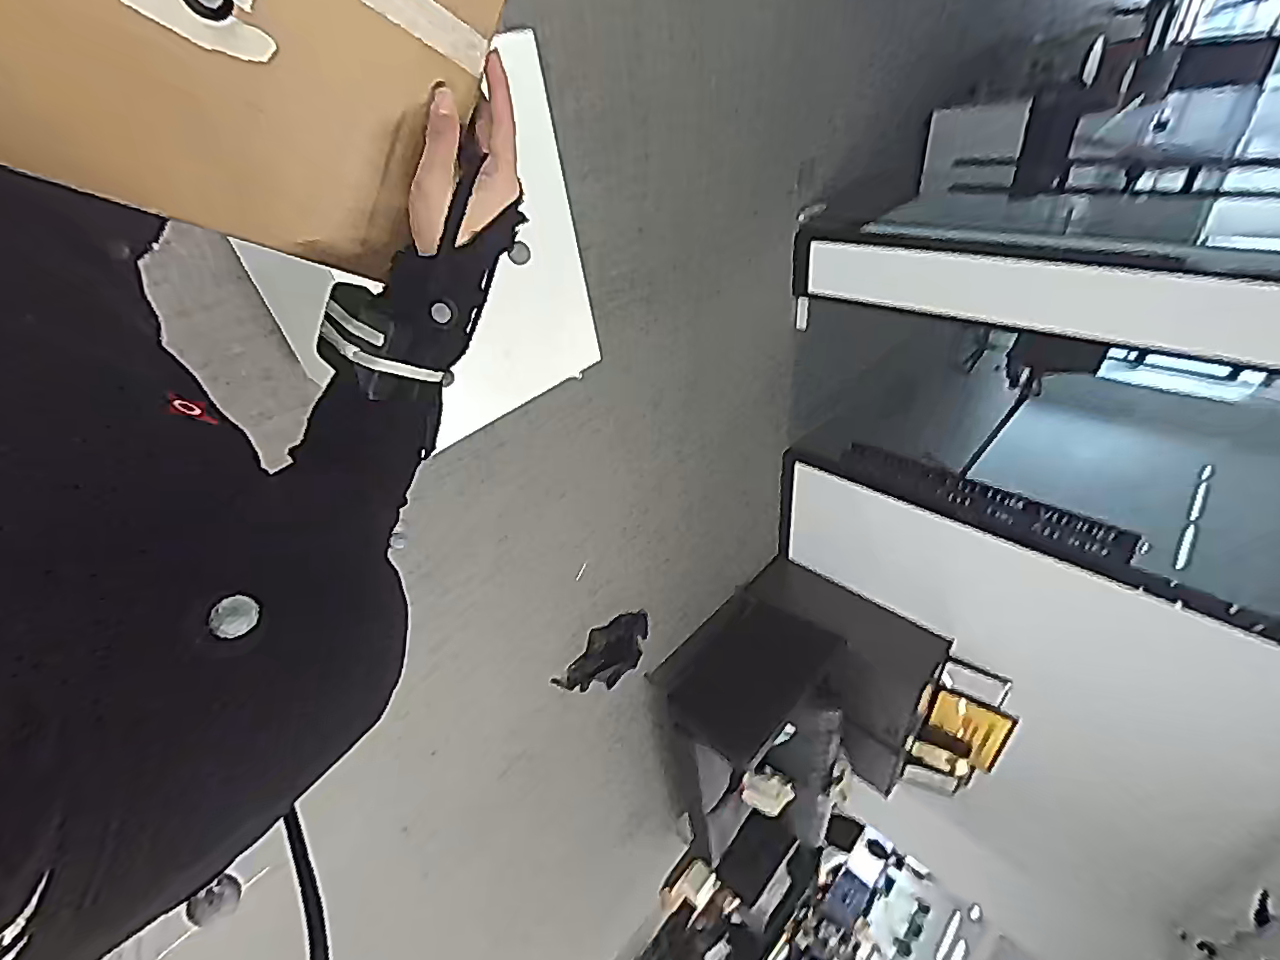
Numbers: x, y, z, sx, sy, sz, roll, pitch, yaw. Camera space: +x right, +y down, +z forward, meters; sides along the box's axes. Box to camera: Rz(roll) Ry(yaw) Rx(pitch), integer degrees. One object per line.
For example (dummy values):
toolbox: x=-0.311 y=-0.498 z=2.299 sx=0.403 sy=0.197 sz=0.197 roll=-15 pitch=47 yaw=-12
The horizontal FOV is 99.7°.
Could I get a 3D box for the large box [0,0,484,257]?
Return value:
large box: x=-0.328 y=-0.374 z=0.274 sx=0.408 sy=0.320 sz=0.320 roll=1 pitch=127 yaw=-50
